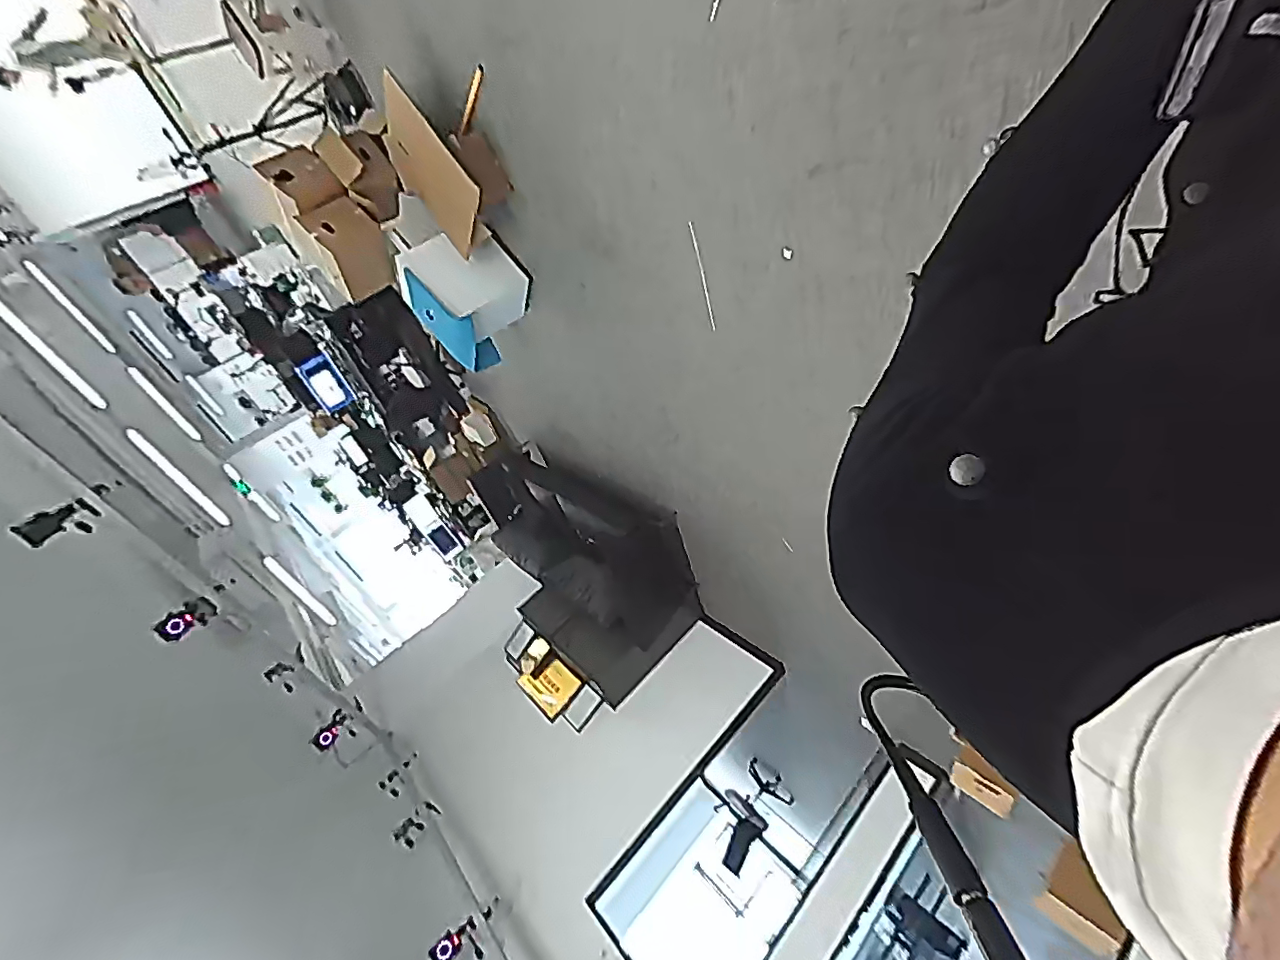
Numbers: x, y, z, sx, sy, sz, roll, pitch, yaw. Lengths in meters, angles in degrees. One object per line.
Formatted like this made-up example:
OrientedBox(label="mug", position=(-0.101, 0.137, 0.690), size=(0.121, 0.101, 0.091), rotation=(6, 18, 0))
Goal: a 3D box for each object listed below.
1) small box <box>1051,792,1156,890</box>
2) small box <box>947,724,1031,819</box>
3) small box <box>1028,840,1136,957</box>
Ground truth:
OrientedBox(label="small box", position=(1.301, 1.025, 1.519), size=(0.168, 0.176, 0.179), rotation=(27, 146, 41))
OrientedBox(label="small box", position=(1.101, 0.913, 1.706), size=(0.168, 0.176, 0.179), rotation=(27, 147, 42))
OrientedBox(label="small box", position=(1.185, 1.118, 1.451), size=(0.168, 0.176, 0.179), rotation=(27, 147, 41))
